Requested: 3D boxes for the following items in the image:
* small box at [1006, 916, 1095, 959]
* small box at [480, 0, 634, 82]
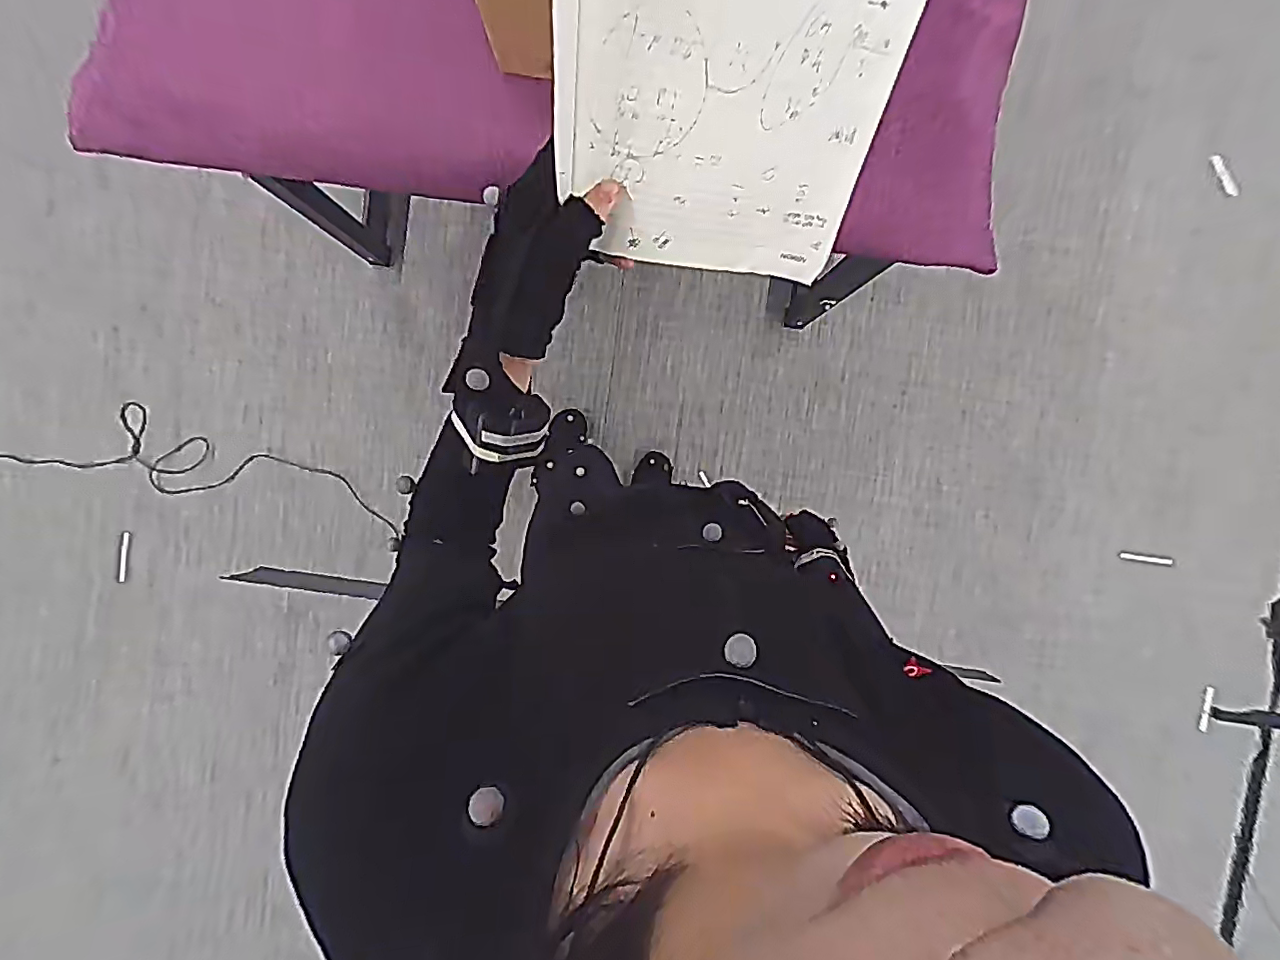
[{"bbox_3d":[1.179,1.392,1.522,0.168,0.176,0.179,-15,92,-1],"label":"small box"},{"bbox_3d":[-0.092,-0.627,0.655,0.179,0.176,0.168,7,92,-2],"label":"small box"}]
